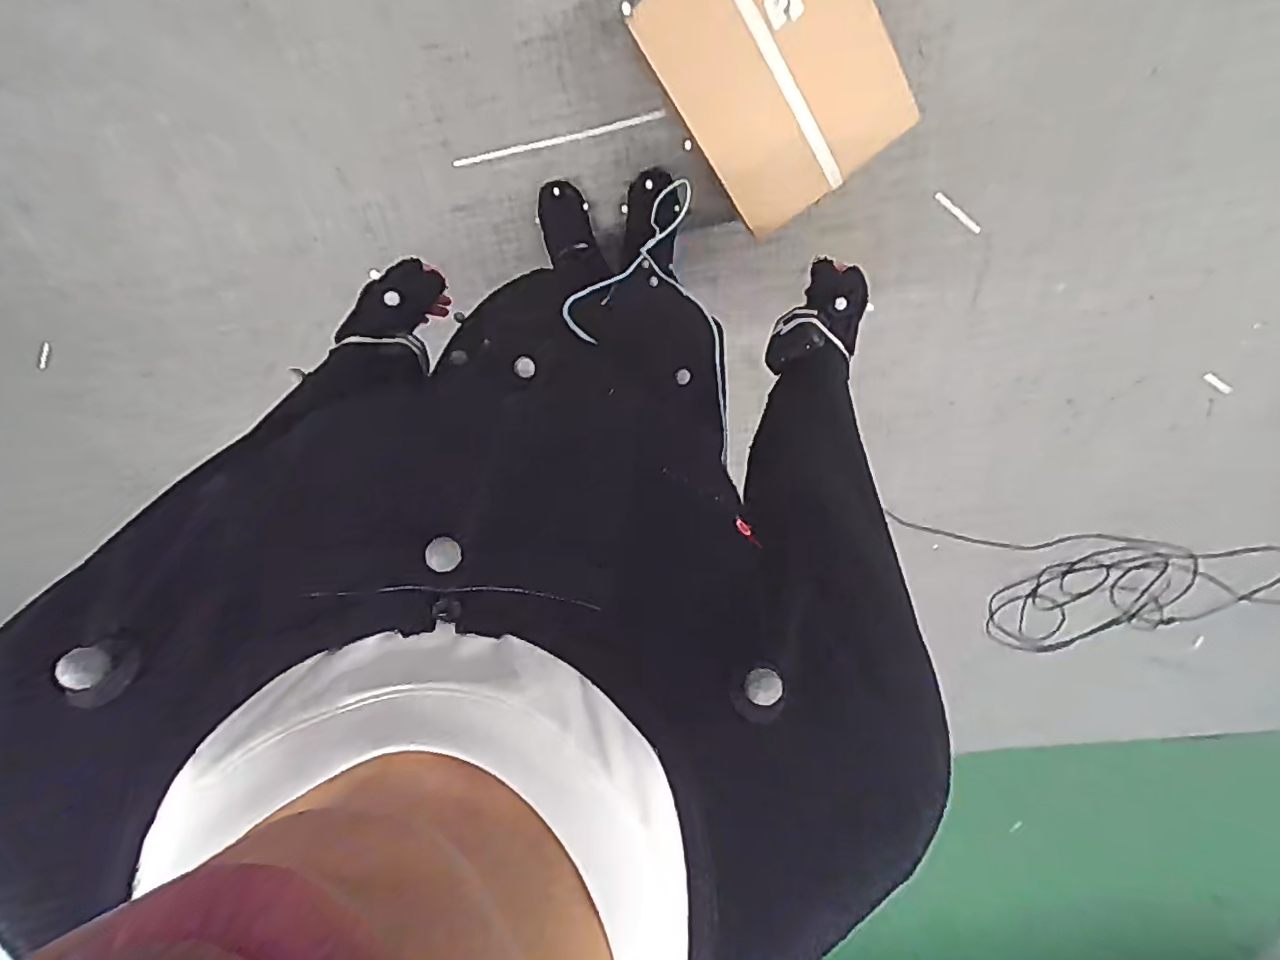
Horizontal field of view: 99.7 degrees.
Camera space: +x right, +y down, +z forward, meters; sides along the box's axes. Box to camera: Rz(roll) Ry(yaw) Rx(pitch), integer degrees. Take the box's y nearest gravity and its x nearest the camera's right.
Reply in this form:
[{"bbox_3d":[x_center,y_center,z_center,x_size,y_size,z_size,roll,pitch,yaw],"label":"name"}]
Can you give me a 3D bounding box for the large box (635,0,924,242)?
[{"bbox_3d":[0.242,-0.728,0.998,0.320,0.320,0.408,-32,115,21],"label":"large box"}]
